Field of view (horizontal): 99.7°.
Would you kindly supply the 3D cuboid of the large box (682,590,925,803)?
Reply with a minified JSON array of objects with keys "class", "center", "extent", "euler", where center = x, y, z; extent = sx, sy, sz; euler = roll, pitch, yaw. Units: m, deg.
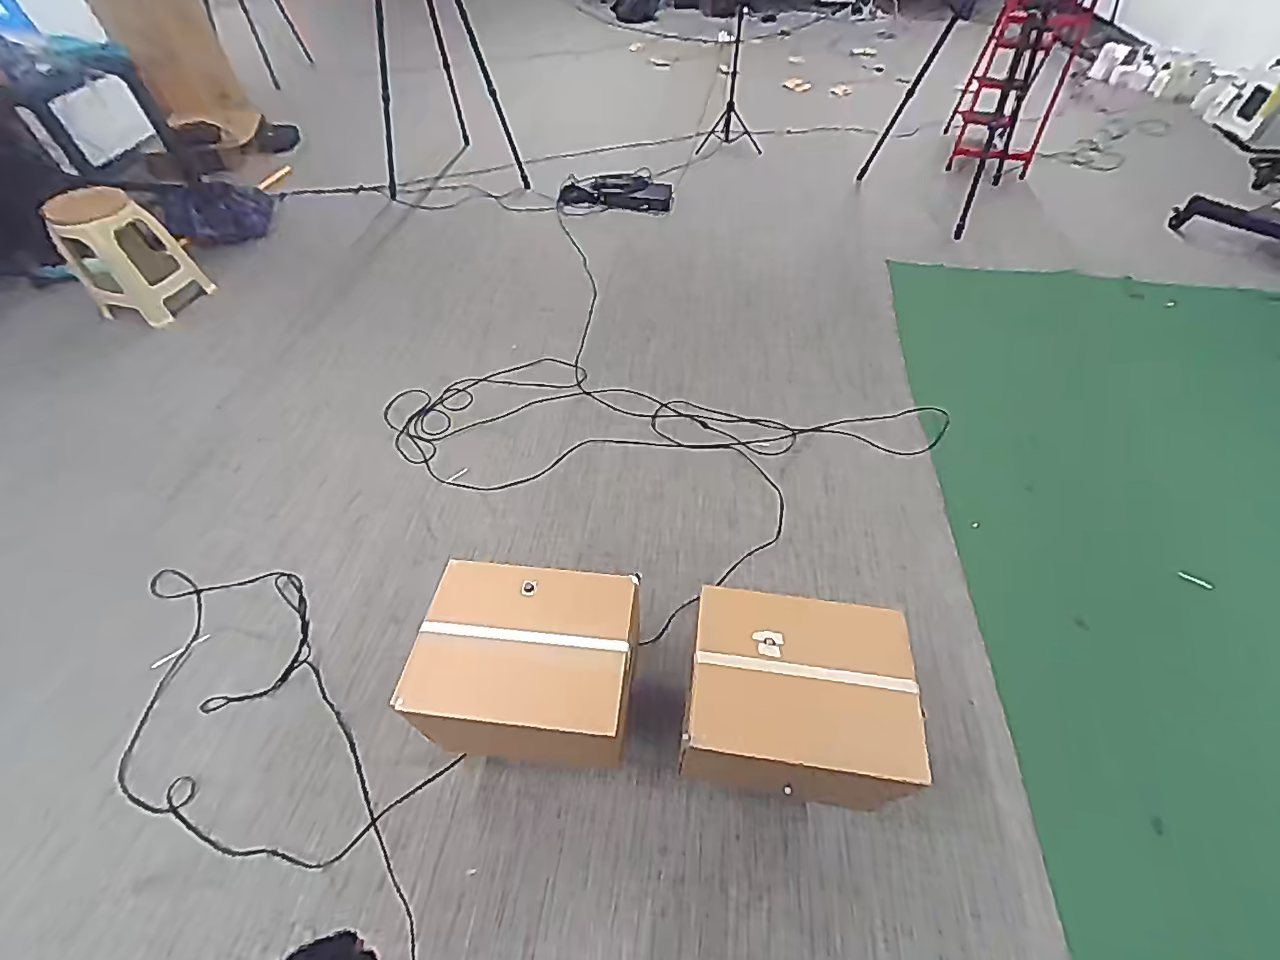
[{"class":"large box","center":[0.307,0.456,1.130],"extent":[0.408,0.320,0.320],"euler":[6,51,6]}]
